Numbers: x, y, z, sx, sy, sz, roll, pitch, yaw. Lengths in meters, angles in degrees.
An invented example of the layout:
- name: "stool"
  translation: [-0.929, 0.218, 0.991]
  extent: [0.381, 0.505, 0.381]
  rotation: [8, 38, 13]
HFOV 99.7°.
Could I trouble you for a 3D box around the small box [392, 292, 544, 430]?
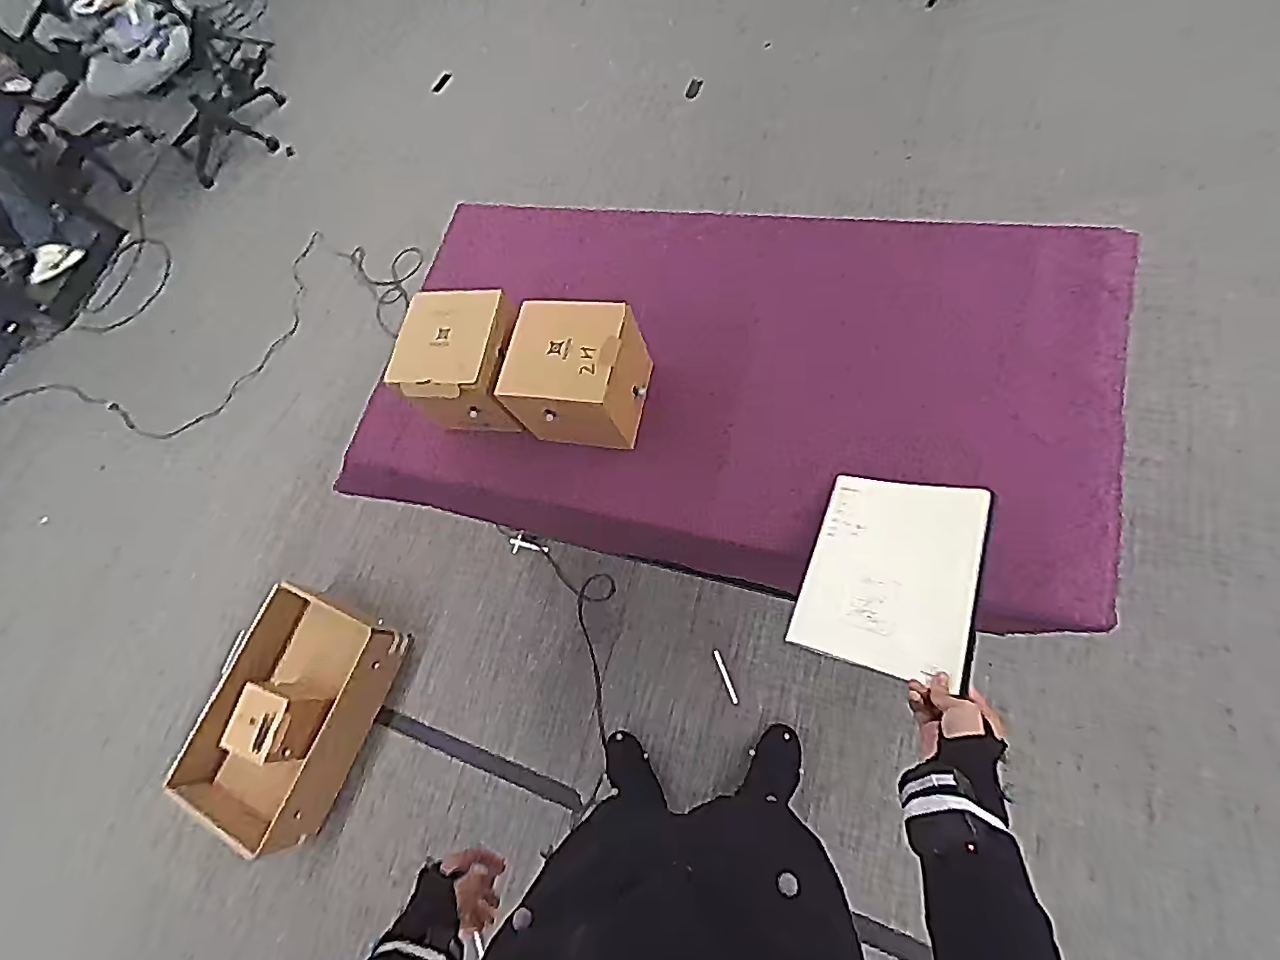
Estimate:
- name: "small box"
  translation: [-0.282, -0.197, 0.926]
  extent: [0.168, 0.176, 0.179]
  rotation: [4, 71, 15]
